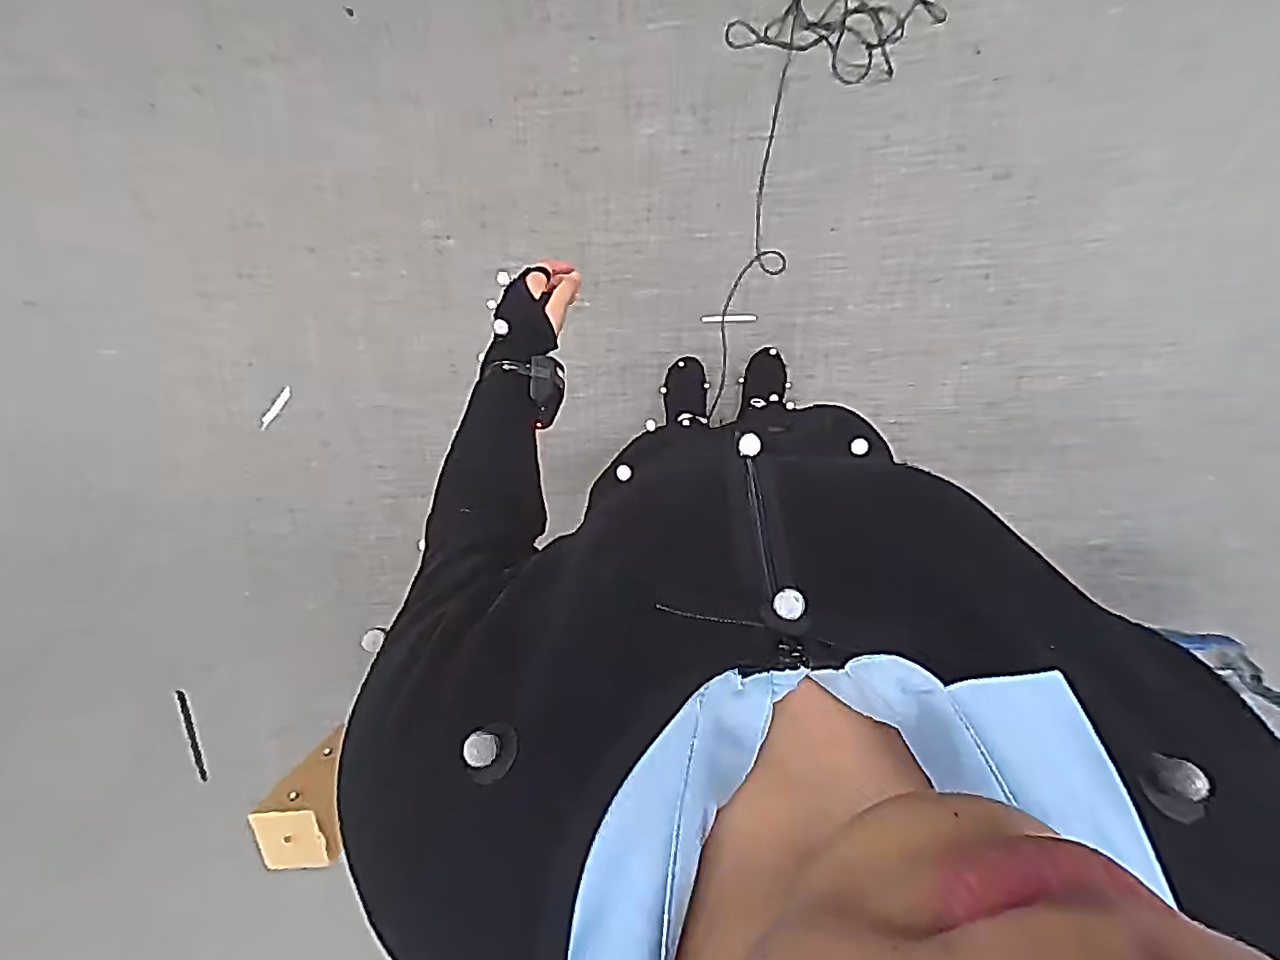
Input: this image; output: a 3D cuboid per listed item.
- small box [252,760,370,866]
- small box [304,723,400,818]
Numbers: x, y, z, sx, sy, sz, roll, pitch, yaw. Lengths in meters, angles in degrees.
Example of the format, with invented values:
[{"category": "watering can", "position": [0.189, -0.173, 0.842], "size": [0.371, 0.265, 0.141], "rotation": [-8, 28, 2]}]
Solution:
[{"category": "small box", "position": [-0.833, 0.847, 1.385], "size": [0.179, 0.176, 0.168], "rotation": [-8, 102, 7]}, {"category": "small box", "position": [-0.816, 0.823, 1.545], "size": [0.179, 0.176, 0.168], "rotation": [3, 104, 5]}]
